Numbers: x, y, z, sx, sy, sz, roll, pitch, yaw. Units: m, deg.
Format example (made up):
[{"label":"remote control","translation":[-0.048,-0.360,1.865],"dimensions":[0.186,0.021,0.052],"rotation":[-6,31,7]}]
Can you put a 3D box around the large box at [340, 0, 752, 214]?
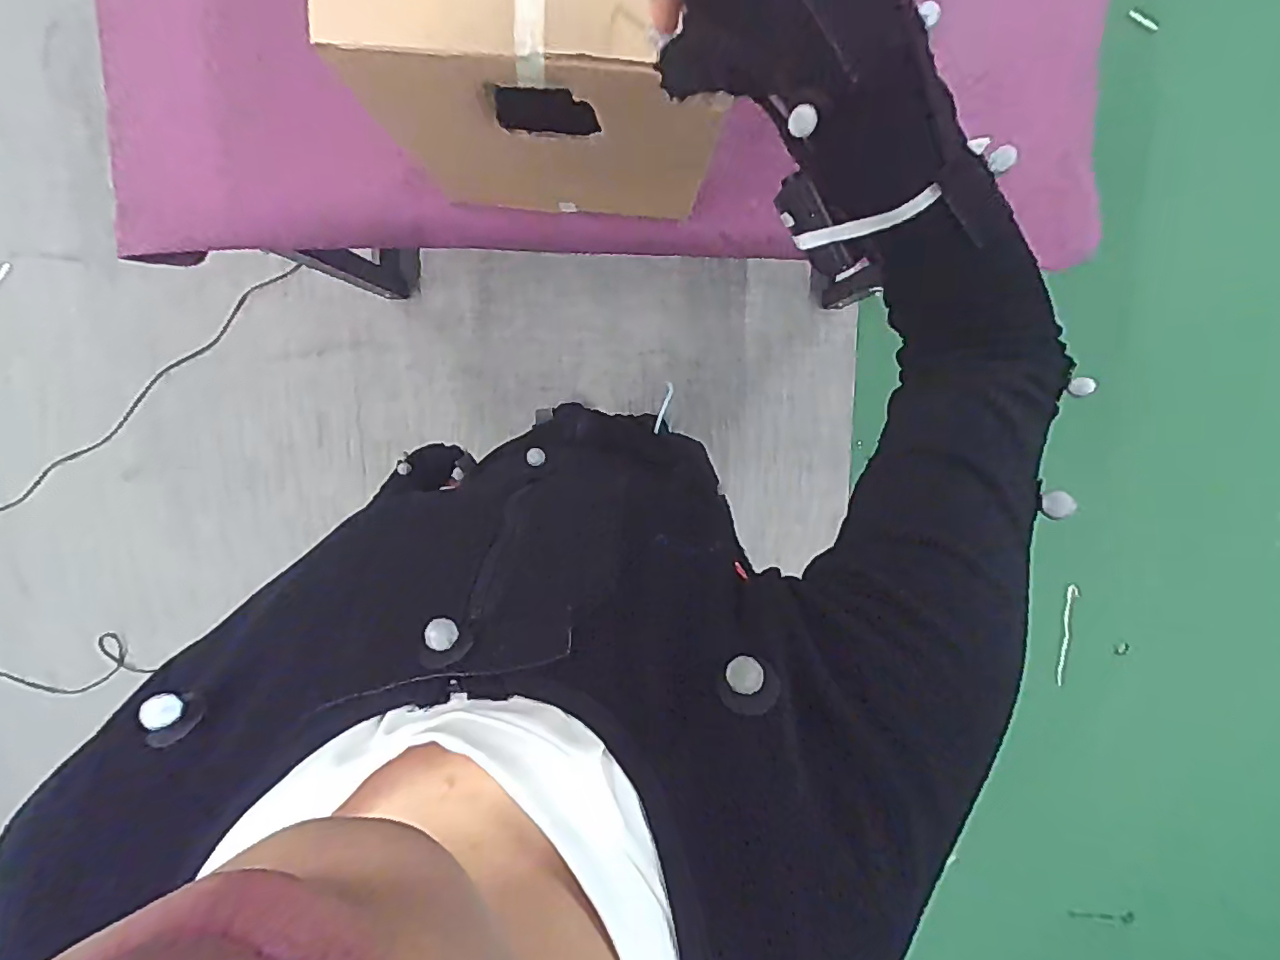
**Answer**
[{"label":"large box","translation":[-0.069,-0.529,0.526],"dimensions":[0.320,0.320,0.408],"rotation":[3,99,-2]}]
